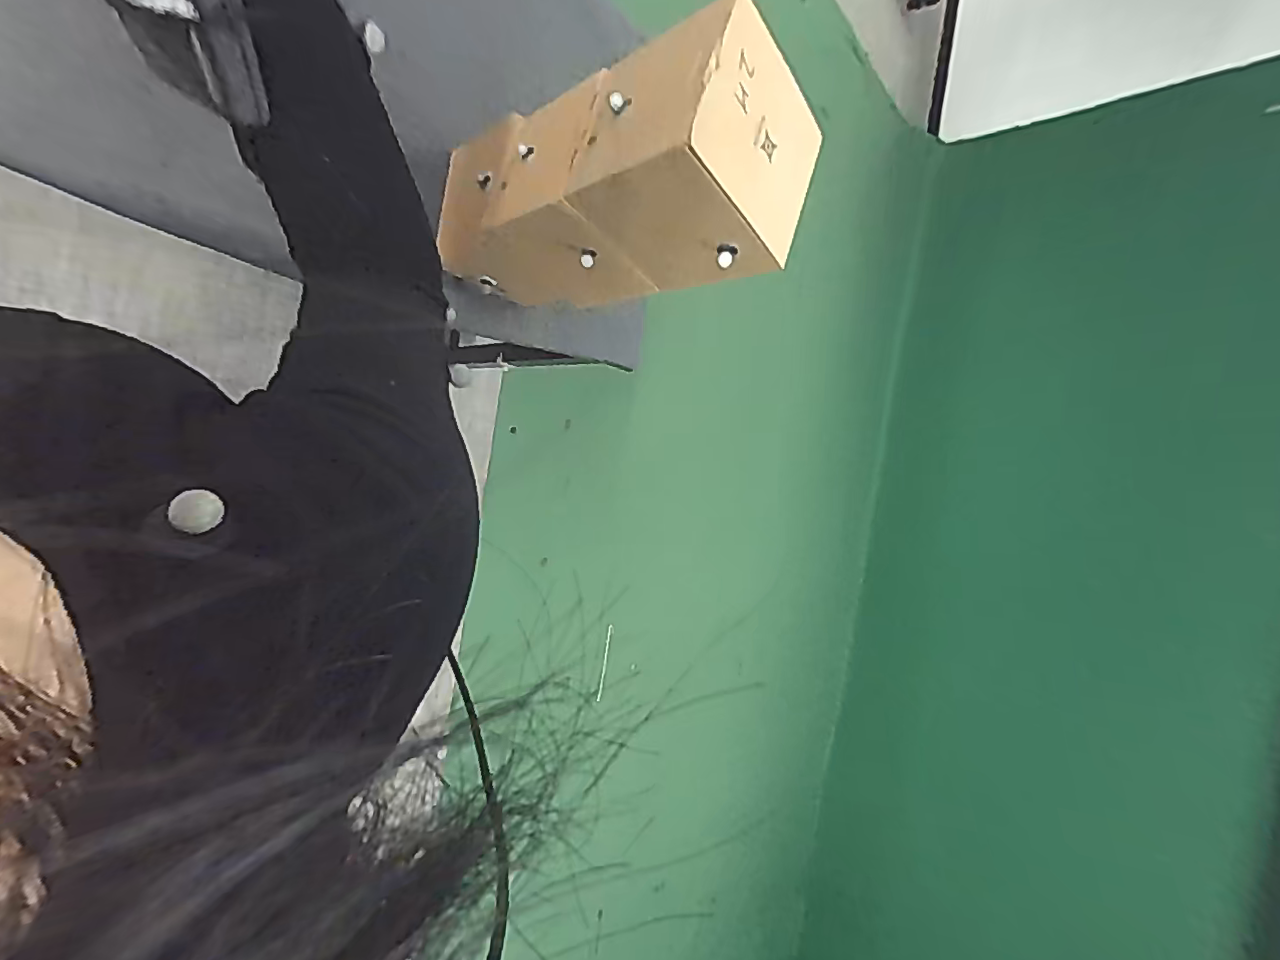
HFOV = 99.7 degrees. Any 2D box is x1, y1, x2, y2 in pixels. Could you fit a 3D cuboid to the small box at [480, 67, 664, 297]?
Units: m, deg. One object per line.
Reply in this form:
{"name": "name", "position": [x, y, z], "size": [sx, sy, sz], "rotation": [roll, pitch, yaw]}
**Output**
{"name": "small box", "position": [-0.063, -0.345, 0.672], "size": [0.179, 0.176, 0.168], "rotation": [25, 79, -44]}

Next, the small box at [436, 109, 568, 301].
{"name": "small box", "position": [-0.176, -0.379, 0.785], "size": [0.168, 0.176, 0.179], "rotation": [10, 90, -45]}

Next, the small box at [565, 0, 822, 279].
{"name": "small box", "position": [0.057, -0.329, 0.558], "size": [0.179, 0.176, 0.168], "rotation": [28, 76, -44]}
